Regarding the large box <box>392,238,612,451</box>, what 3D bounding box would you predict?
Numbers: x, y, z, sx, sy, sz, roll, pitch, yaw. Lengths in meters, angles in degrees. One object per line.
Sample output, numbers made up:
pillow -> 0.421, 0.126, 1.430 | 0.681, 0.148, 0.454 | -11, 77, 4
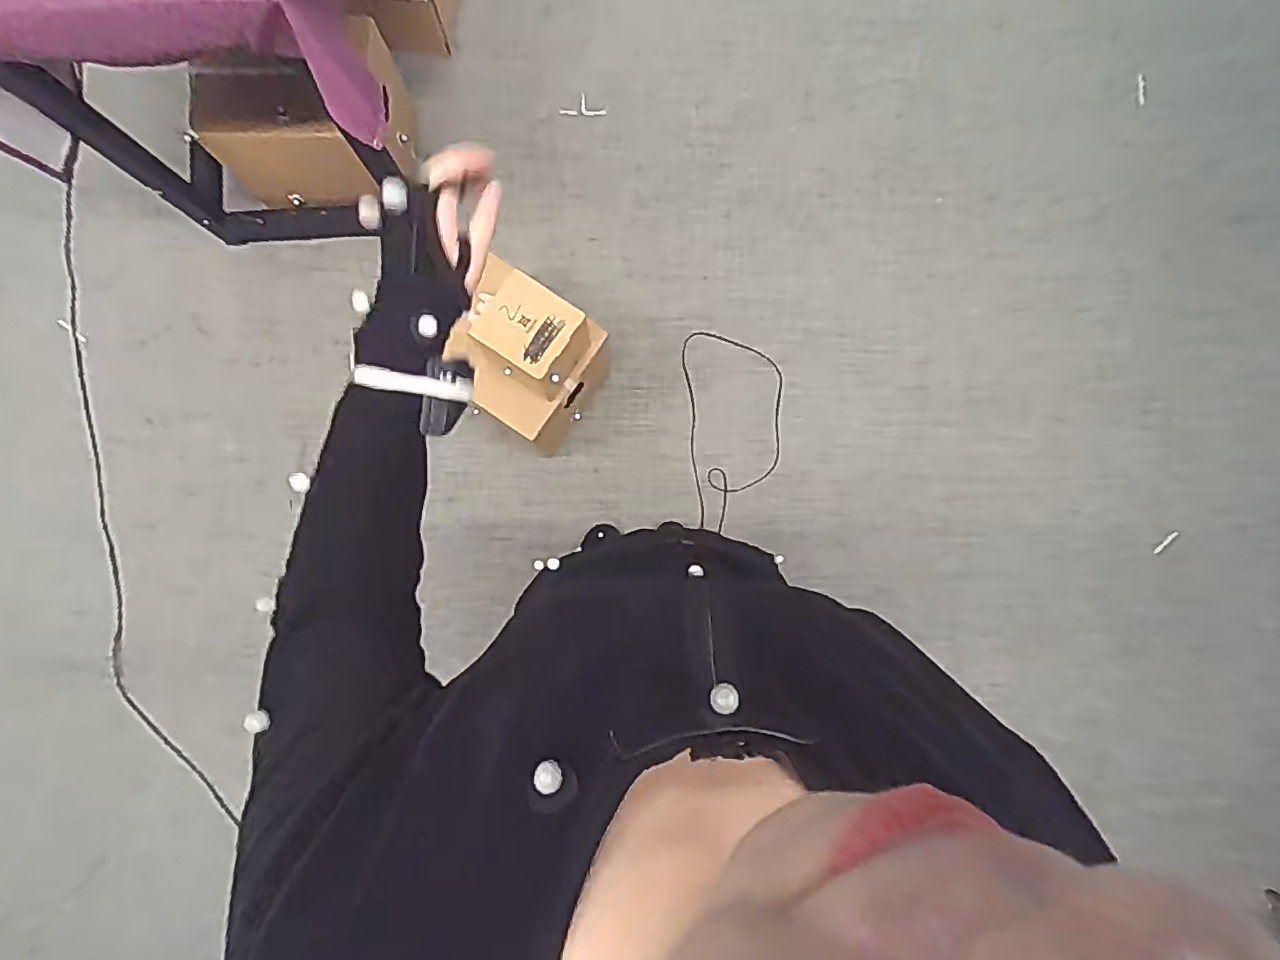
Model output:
large box -> -0.322, -0.320, 1.388 | 0.408, 0.320, 0.320 | 34, 85, 1
